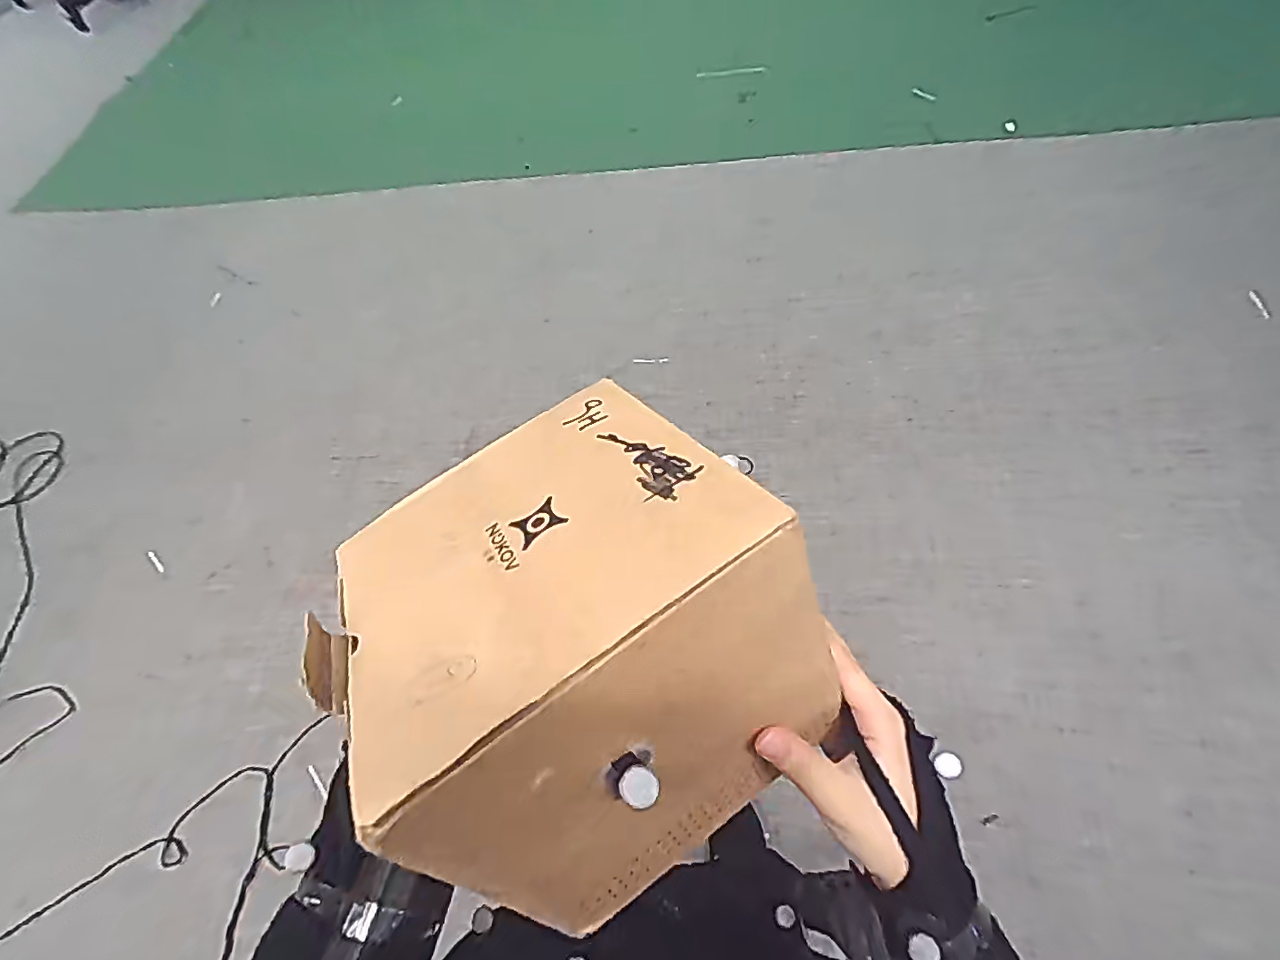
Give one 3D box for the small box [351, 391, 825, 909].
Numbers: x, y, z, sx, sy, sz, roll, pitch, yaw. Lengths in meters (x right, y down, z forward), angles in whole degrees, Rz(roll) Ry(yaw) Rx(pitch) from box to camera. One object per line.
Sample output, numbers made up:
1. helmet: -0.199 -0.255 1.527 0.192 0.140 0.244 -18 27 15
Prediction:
1. small box: -0.023 0.087 0.298 0.179 0.176 0.168 -35 40 -10
